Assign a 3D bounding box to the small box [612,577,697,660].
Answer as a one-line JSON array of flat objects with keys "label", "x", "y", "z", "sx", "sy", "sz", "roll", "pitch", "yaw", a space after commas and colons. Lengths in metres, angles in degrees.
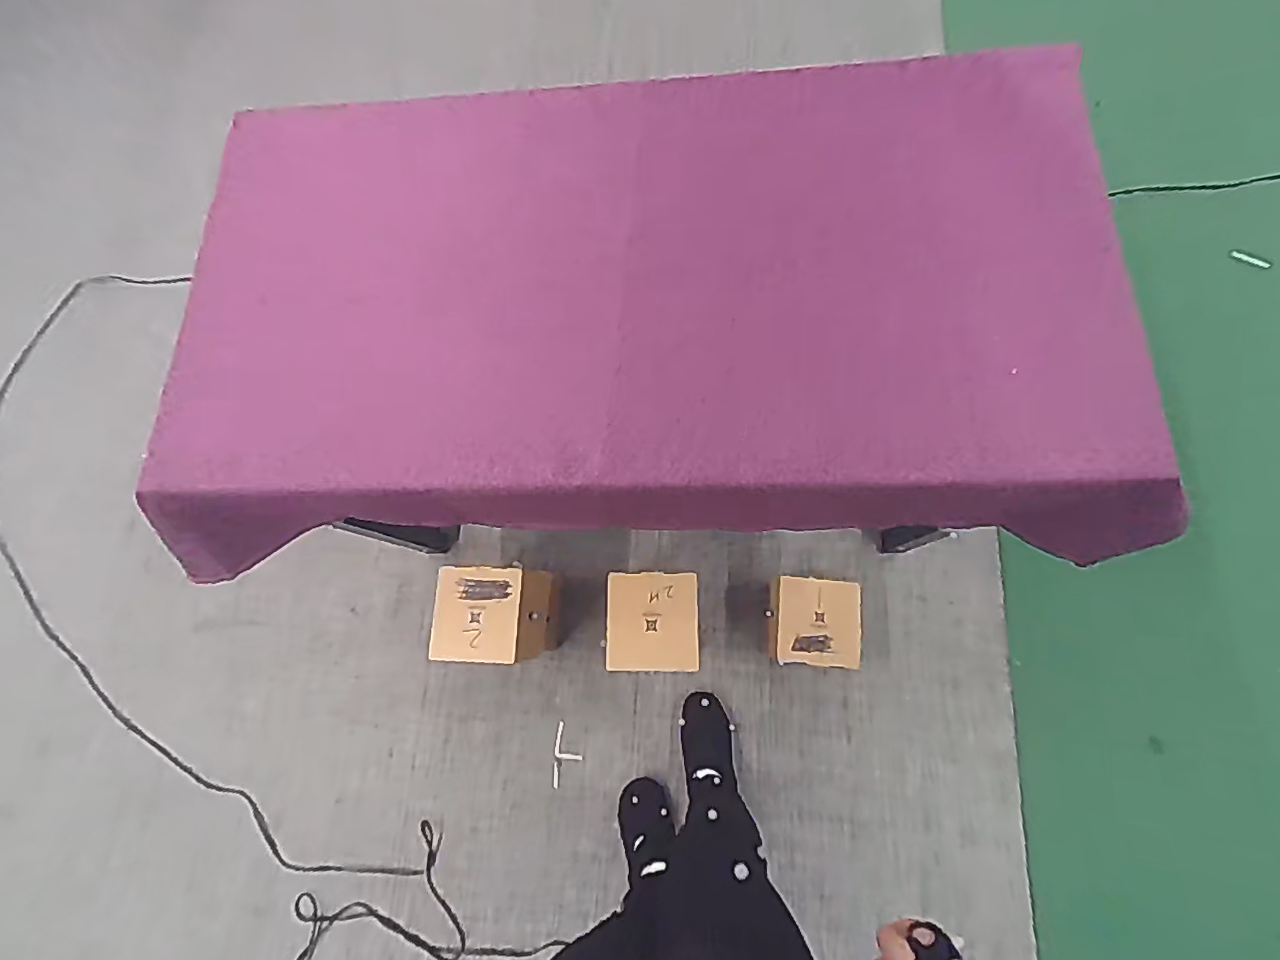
[{"label": "small box", "x": 0.039, "y": 0.312, "z": 1.219, "sx": 0.179, "sy": 0.176, "sz": 0.168, "roll": 1, "pitch": 75, "yaw": 6}]
